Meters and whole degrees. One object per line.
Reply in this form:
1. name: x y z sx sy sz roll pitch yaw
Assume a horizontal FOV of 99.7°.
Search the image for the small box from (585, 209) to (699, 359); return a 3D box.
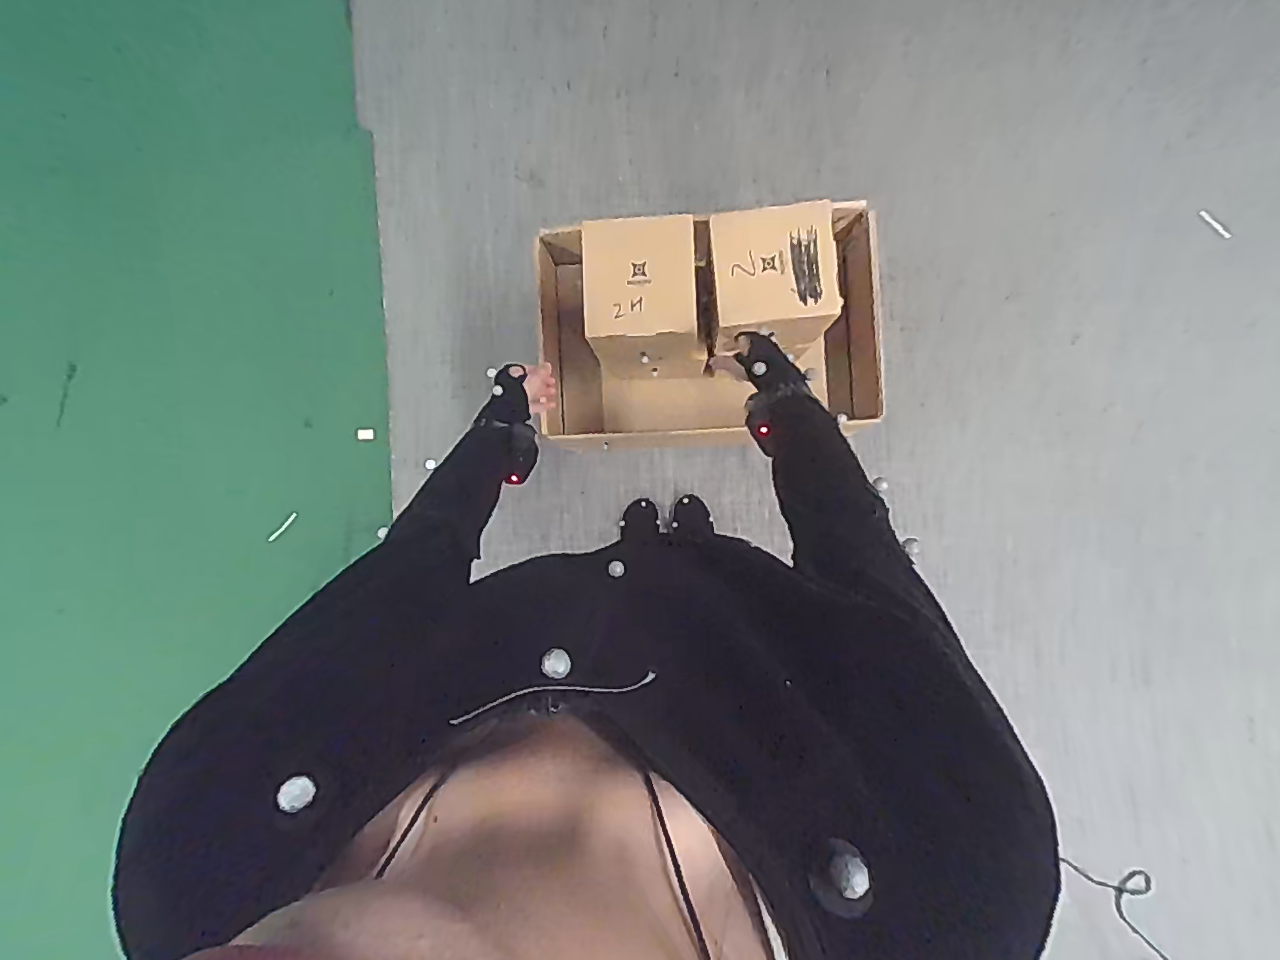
1. small box: 0.006 -0.300 0.859 0.168 0.176 0.179 -2 89 4
